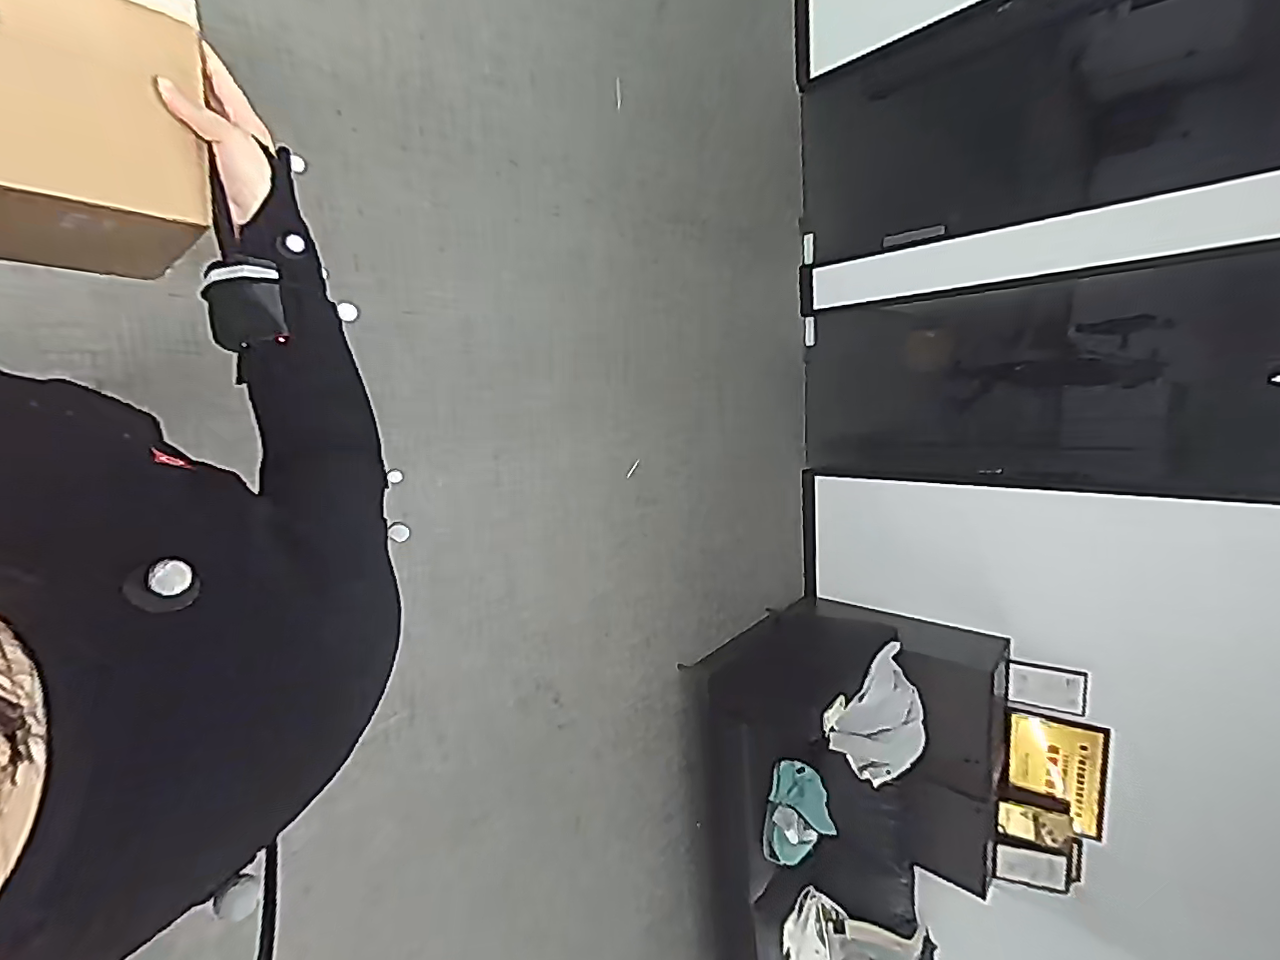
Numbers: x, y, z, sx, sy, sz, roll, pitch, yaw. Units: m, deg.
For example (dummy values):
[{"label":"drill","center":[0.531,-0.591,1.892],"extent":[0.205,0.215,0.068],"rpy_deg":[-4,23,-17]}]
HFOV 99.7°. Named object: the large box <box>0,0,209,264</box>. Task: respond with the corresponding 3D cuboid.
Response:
[{"label":"large box","center":[-0.597,-0.365,0.370],"extent":[0.408,0.320,0.320],"rpy_deg":[-9,103,-49]}]
